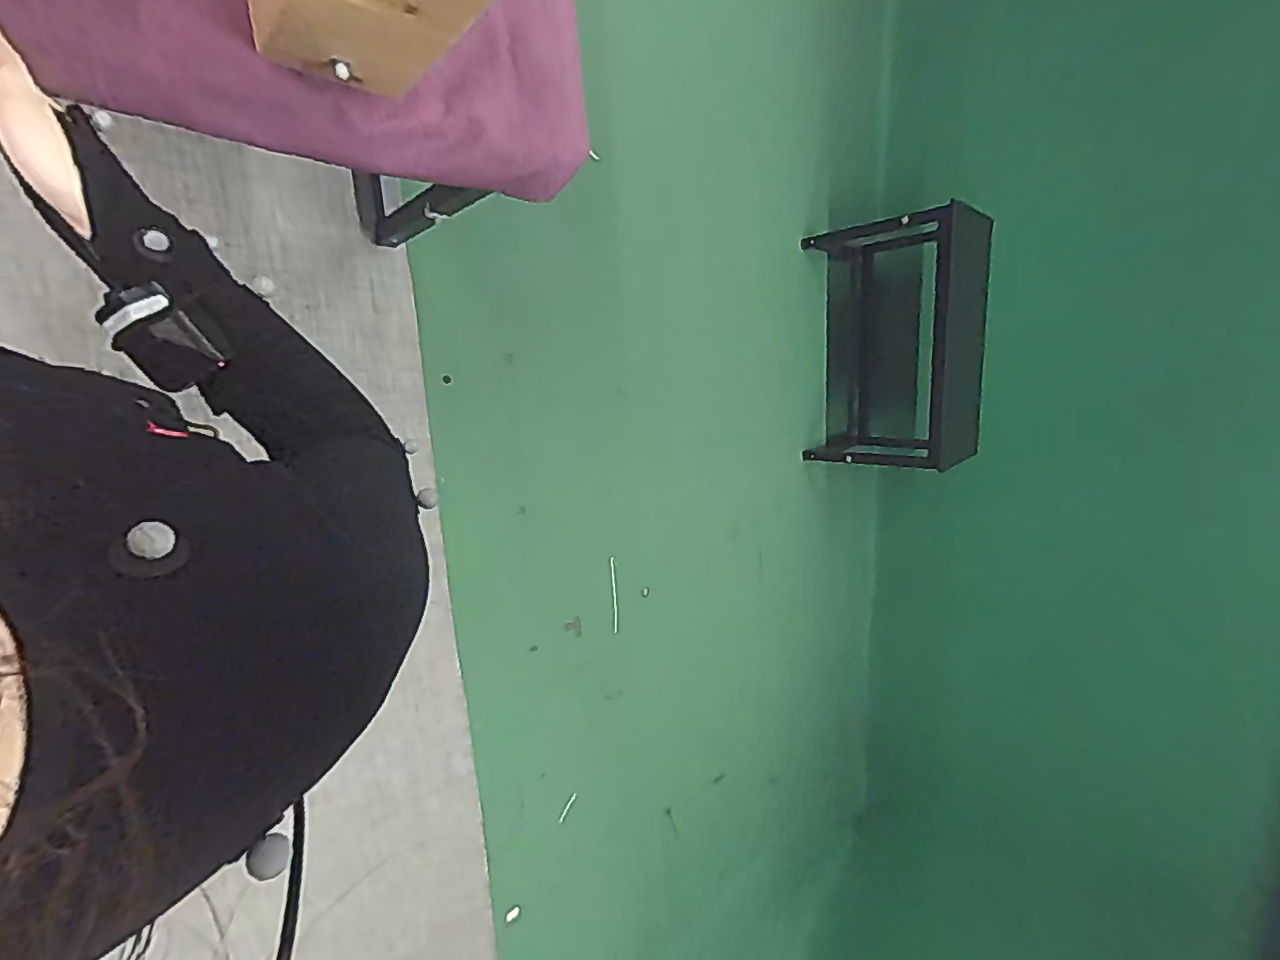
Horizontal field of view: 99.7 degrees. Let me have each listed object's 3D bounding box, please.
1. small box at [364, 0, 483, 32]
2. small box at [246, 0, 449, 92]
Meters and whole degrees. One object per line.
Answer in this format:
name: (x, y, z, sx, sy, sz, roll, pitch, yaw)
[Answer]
small box: (-0.225, -0.581, 0.503, 0.168, 0.176, 0.179, -15, 106, -43)
small box: (-0.341, -0.592, 0.615, 0.168, 0.176, 0.179, -13, 105, -44)
